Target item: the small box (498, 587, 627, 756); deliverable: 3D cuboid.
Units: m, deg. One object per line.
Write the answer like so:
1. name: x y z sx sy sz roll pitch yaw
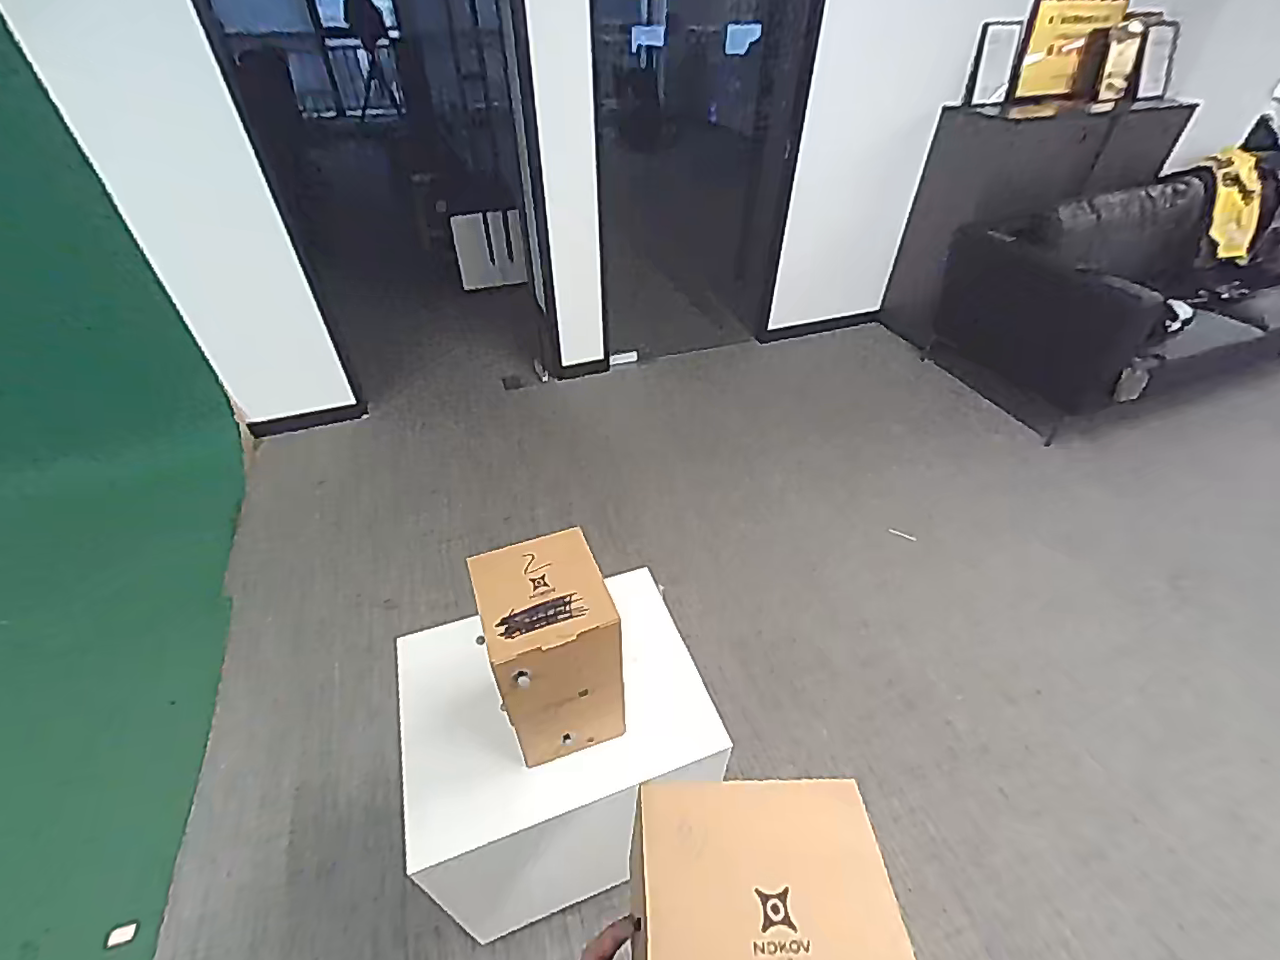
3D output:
1. small box: -0.126 0.308 0.877 0.168 0.176 0.179 -13 44 -15

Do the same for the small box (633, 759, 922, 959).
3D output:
1. small box: 0.082 0.329 0.392 0.168 0.176 0.179 1 39 -3
